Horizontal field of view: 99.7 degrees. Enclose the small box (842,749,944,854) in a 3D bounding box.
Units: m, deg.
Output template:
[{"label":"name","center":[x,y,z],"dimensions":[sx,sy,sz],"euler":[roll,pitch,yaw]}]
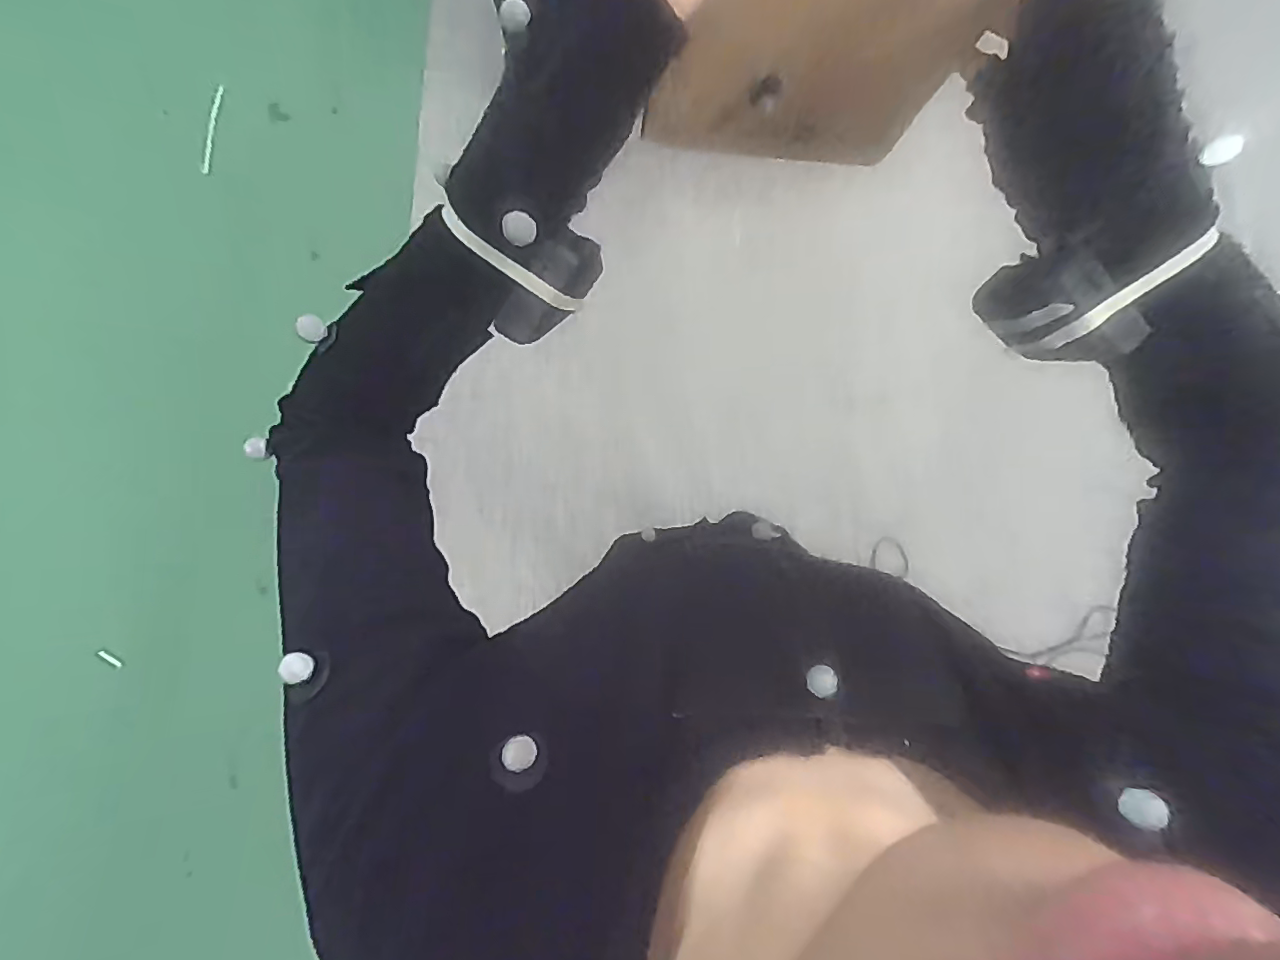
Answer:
[{"label":"small box","center":[0.602,0.765,1.307],"dimensions":[0.168,0.176,0.179],"euler":[-2,82,0]}]
